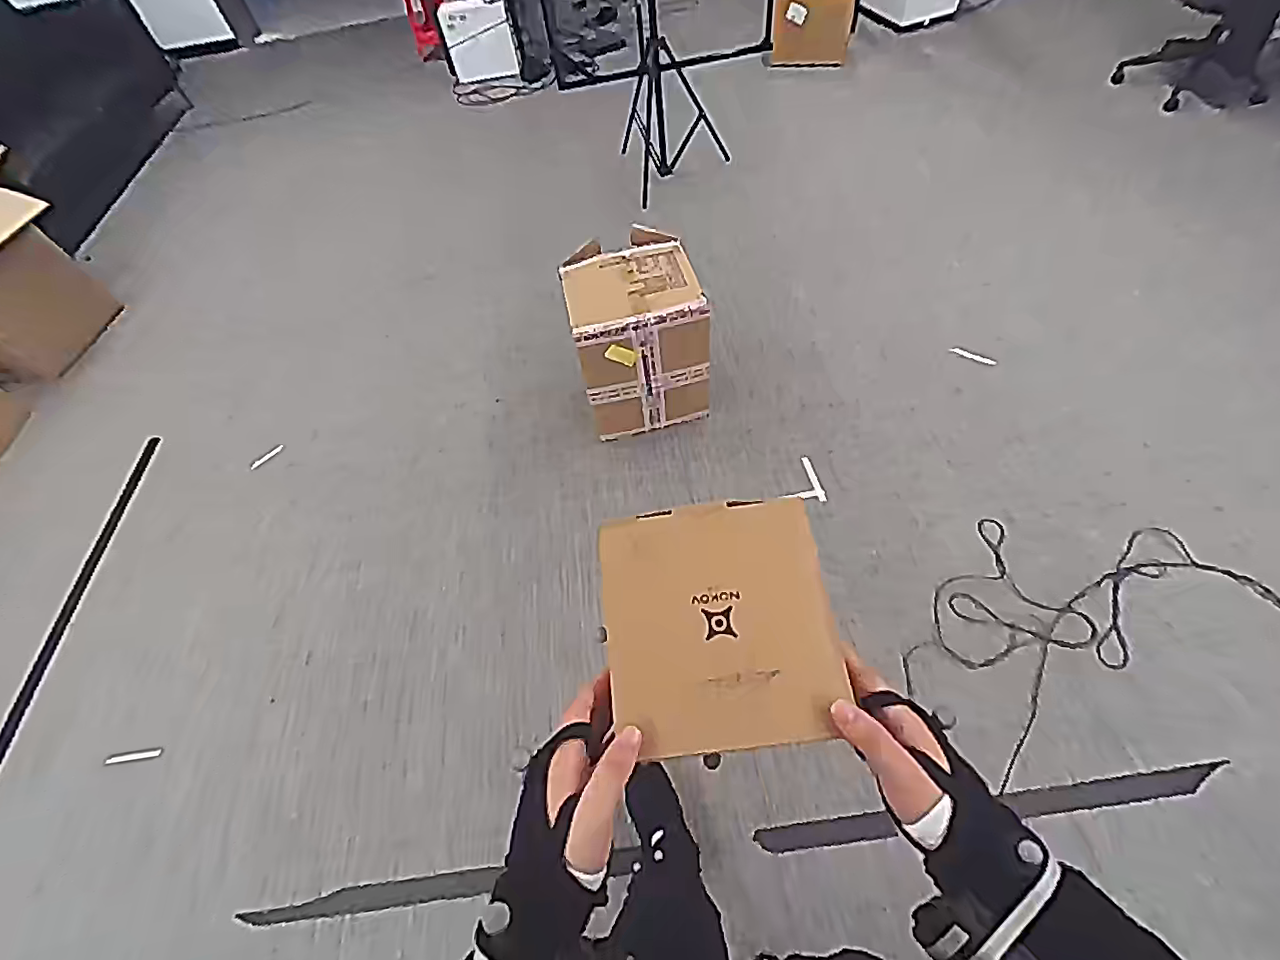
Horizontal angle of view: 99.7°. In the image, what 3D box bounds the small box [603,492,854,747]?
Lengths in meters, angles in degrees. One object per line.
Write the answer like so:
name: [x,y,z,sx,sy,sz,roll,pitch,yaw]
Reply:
small box: [0.061,0.129,0.474,0.168,0.176,0.179,-7,66,1]
